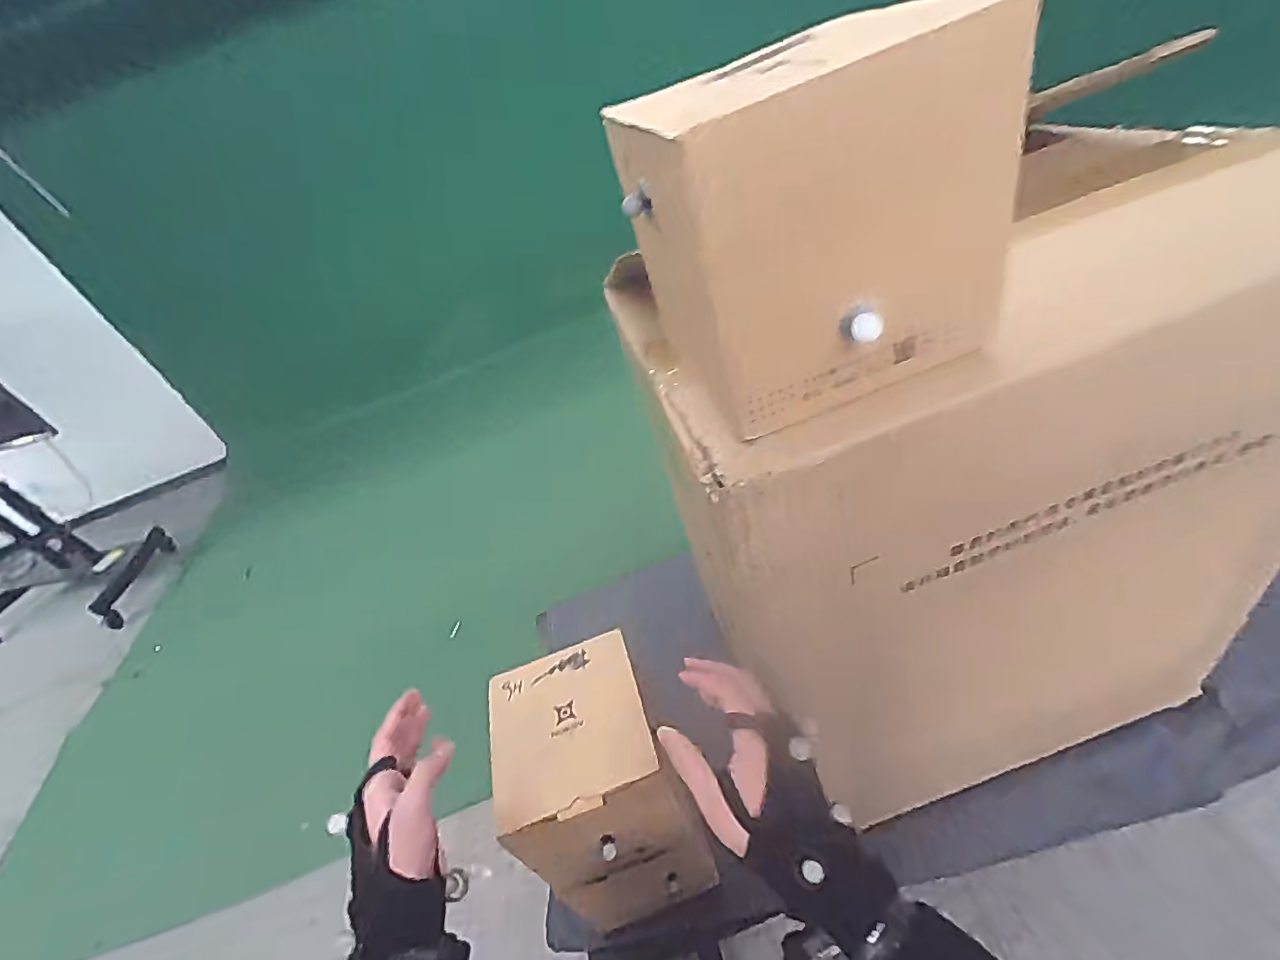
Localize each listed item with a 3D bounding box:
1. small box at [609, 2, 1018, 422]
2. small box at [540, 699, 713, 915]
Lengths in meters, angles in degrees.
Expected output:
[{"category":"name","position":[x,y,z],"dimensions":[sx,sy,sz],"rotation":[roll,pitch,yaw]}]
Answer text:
[{"category":"small box","position":[0.094,-0.166,0.351],"dimensions":[0.168,0.176,0.179],"rotation":[-22,38,0]},{"category":"small box","position":[-0.017,0.435,0.715],"dimensions":[0.168,0.176,0.179],"rotation":[-21,36,-4]}]
